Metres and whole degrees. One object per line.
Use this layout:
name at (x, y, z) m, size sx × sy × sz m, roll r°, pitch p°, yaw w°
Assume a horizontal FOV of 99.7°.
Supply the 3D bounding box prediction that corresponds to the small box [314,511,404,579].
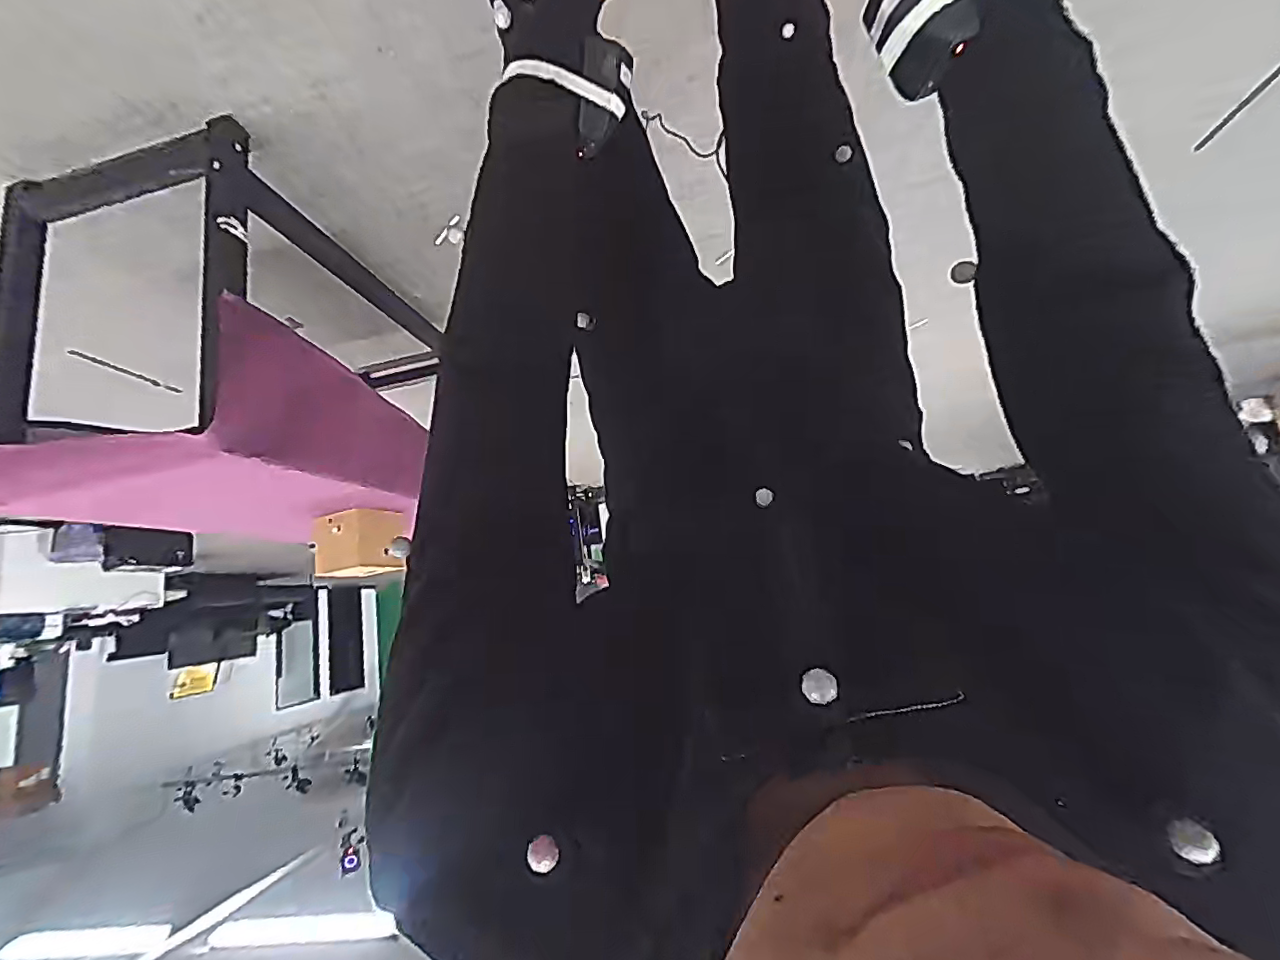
small box at (-0.815, 0.190, 1.574) m, size 0.168 × 0.176 × 0.179 m, roll -13°, pitch 167°, yaw 18°
